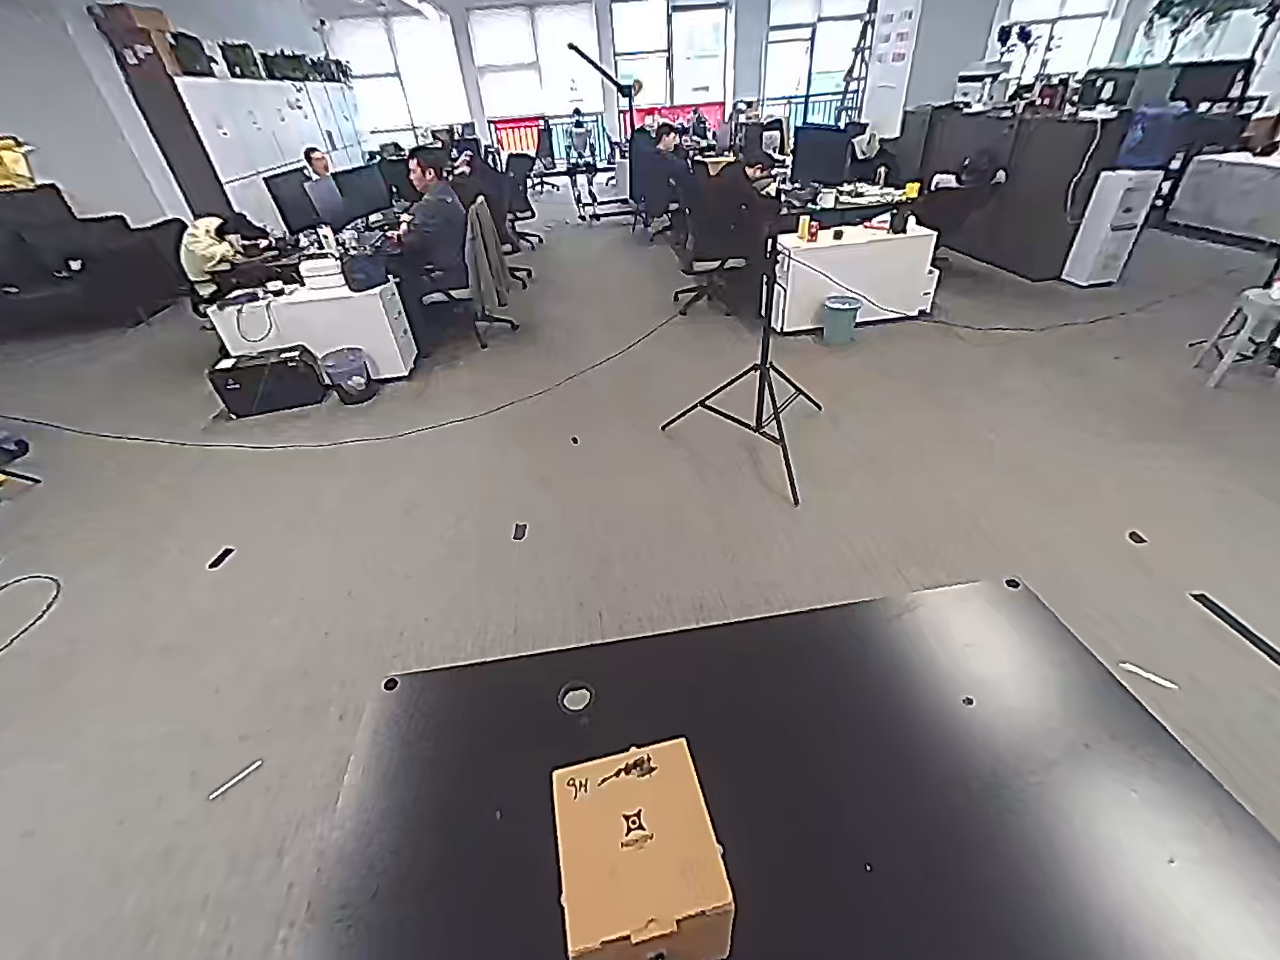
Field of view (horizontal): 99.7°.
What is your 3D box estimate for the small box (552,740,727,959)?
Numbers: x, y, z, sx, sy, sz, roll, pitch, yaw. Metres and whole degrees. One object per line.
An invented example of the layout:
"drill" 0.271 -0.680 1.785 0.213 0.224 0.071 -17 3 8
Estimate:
"small box" -0.002 0.446 0.633 0.168 0.176 0.179 -11 36 -7
